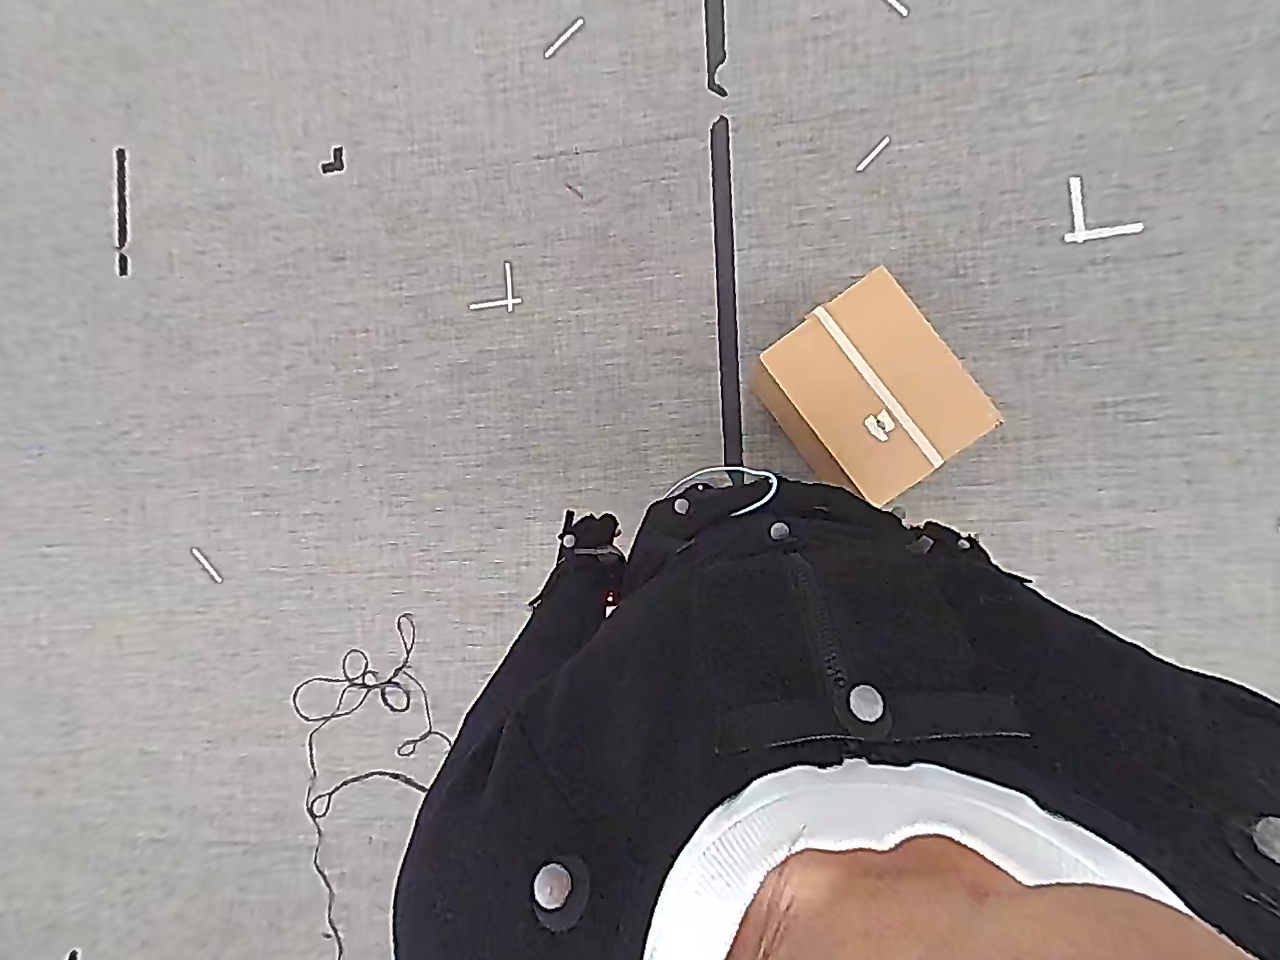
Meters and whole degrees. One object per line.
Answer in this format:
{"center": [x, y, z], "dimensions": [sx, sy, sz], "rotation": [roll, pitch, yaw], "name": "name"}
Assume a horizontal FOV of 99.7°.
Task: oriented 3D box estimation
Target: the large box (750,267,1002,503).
{"center": [0.508, -0.197, 1.262], "dimensions": [0.320, 0.320, 0.408], "rotation": [-36, 86, 6], "name": "large box"}
